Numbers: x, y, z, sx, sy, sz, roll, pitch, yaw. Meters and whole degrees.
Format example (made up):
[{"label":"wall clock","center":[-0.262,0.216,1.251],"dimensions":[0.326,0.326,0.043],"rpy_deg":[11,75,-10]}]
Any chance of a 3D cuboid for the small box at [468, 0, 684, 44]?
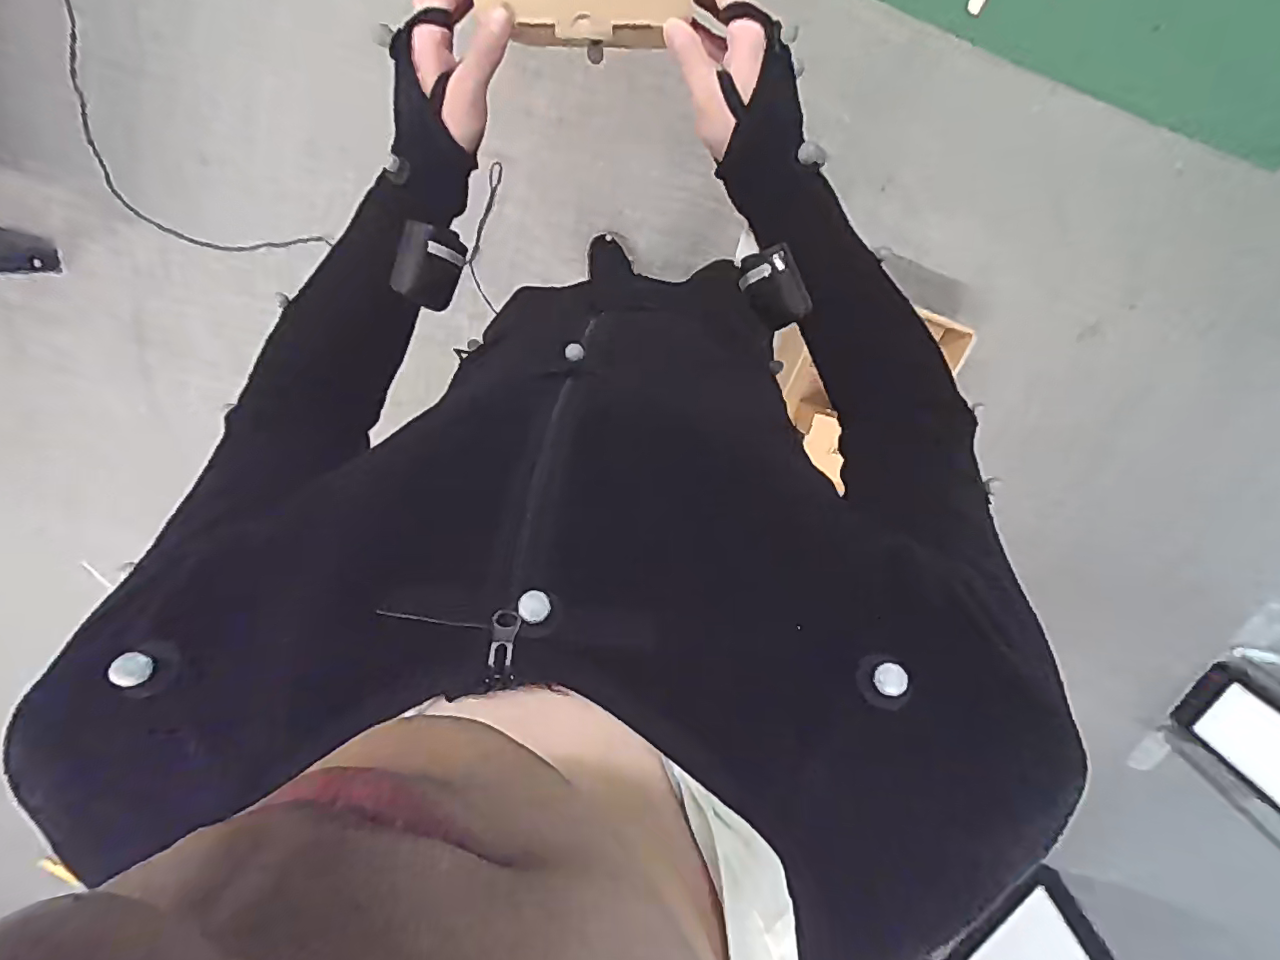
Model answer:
[{"label":"small box","center":[-0.043,-0.460,0.426],"dimensions":[0.168,0.176,0.179],"rpy_deg":[2,126,1]}]
